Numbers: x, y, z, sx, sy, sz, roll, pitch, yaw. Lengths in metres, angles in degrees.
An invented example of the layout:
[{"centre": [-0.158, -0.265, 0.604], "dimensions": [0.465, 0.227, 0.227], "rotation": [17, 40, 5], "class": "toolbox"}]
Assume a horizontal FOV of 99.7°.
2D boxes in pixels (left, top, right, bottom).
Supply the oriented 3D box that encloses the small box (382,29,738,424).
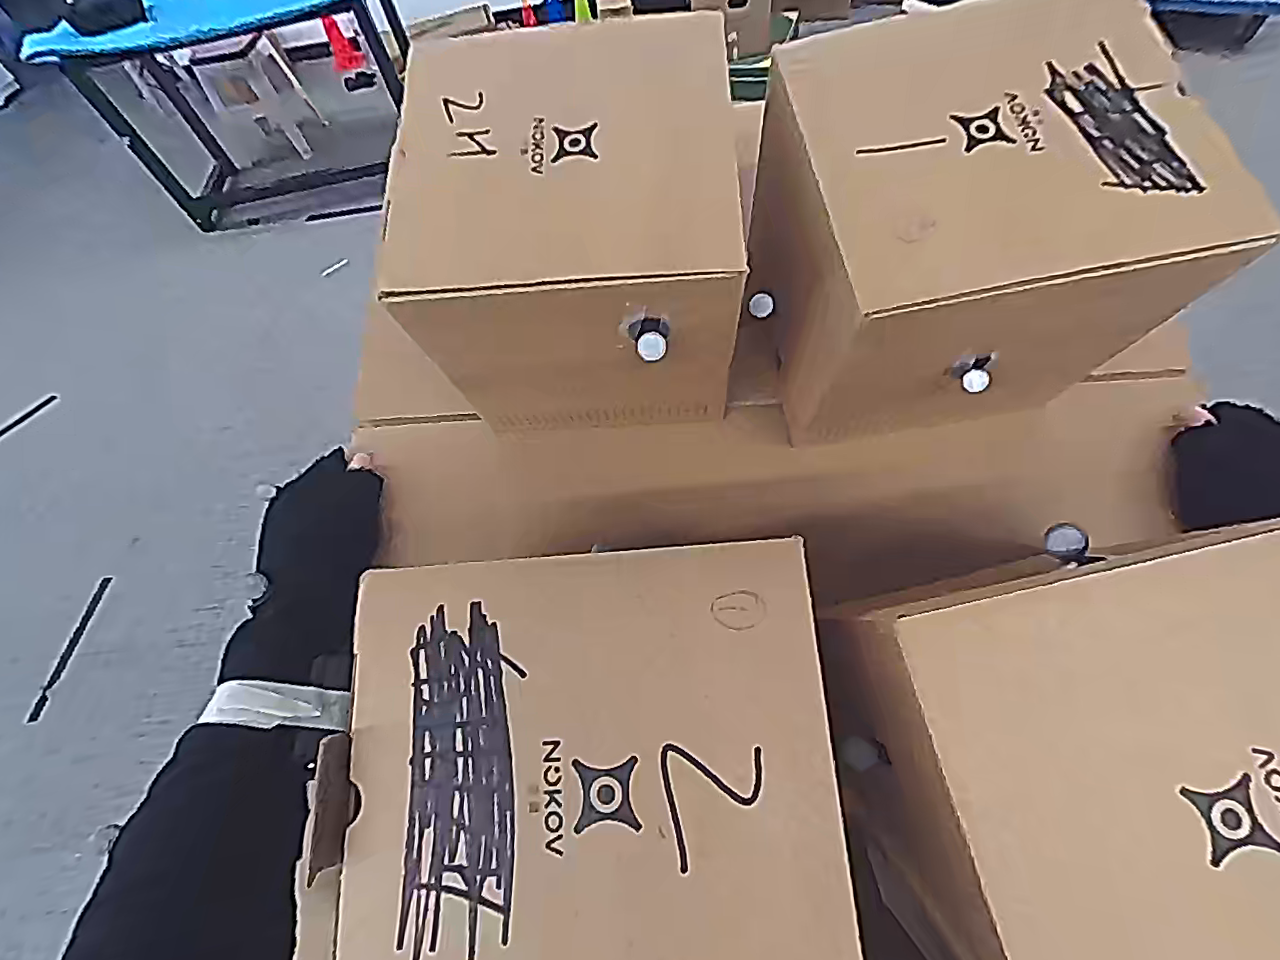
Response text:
[{"centre": [-0.034, -0.144, 0.357], "dimensions": [0.179, 0.176, 0.168], "rotation": [-2, 72, 5], "class": "small box"}]
